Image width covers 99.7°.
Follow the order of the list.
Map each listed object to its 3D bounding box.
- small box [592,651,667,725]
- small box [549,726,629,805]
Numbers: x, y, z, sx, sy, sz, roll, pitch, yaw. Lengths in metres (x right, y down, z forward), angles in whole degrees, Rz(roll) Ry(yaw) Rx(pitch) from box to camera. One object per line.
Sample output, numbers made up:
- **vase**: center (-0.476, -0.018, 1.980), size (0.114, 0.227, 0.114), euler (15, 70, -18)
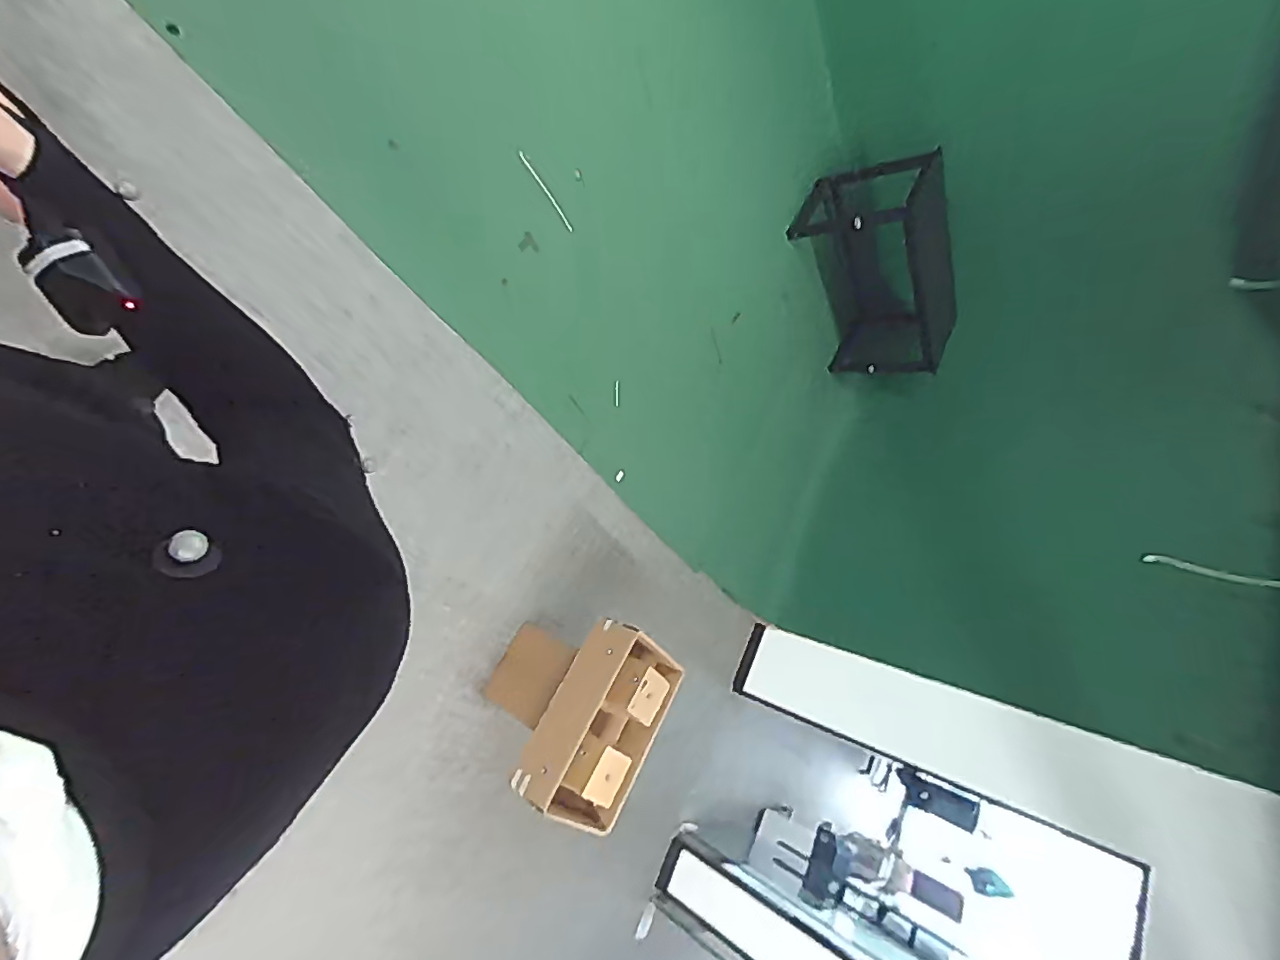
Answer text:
- **small box**: center (-0.039, 0.739, 1.933), size (0.168, 0.176, 0.179), euler (-58, 136, -26)
- **small box**: center (-0.174, 0.956, 1.821), size (0.168, 0.176, 0.179), euler (-59, 136, -24)
